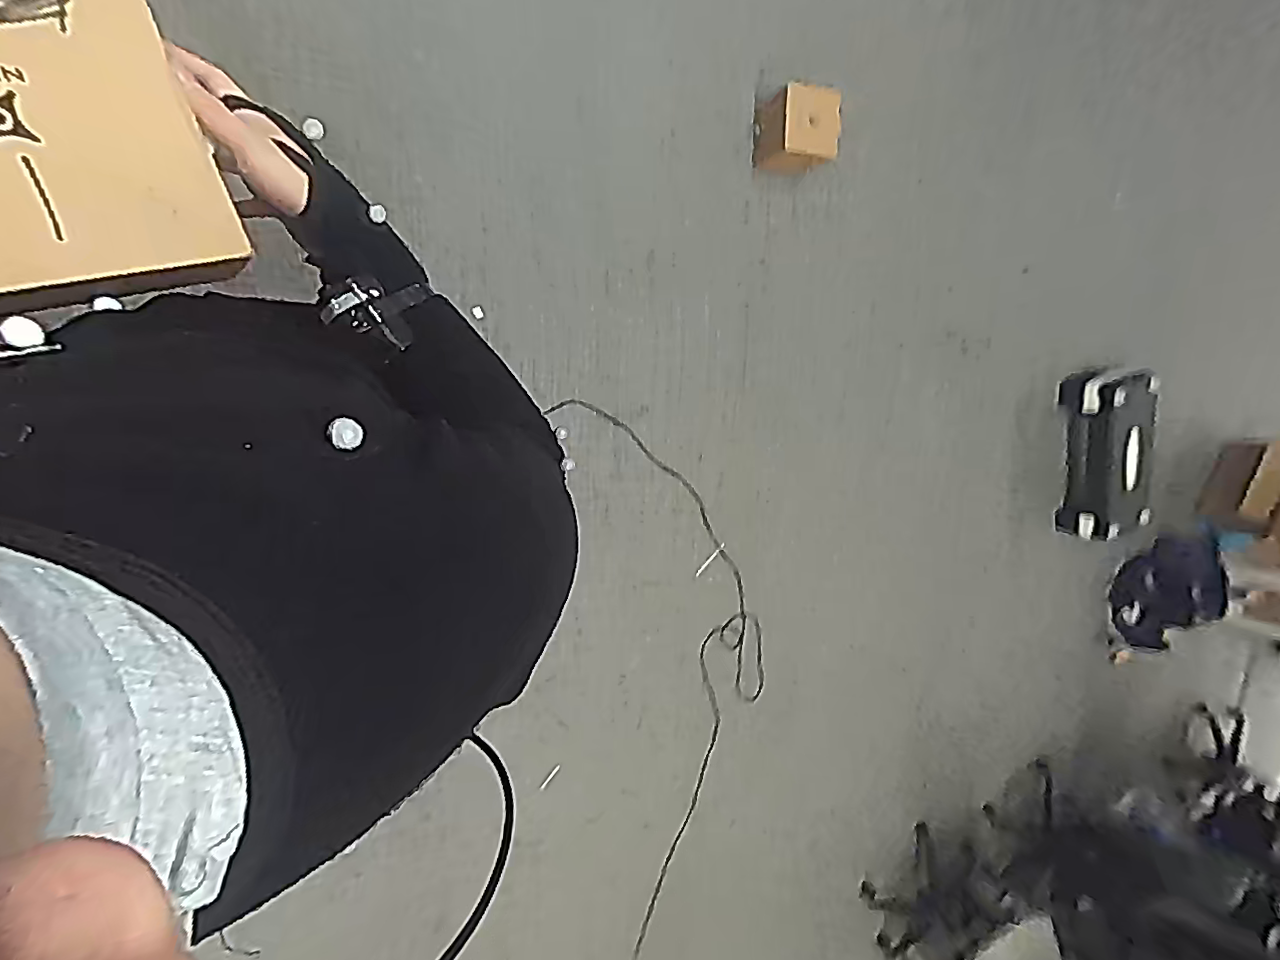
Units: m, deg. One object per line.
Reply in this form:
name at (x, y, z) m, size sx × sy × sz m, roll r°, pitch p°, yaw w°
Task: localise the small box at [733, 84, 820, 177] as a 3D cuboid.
small box at (0.388, -0.990, 1.550) m, size 0.179 × 0.176 × 0.168 m, roll -5°, pitch 102°, yaw -20°
